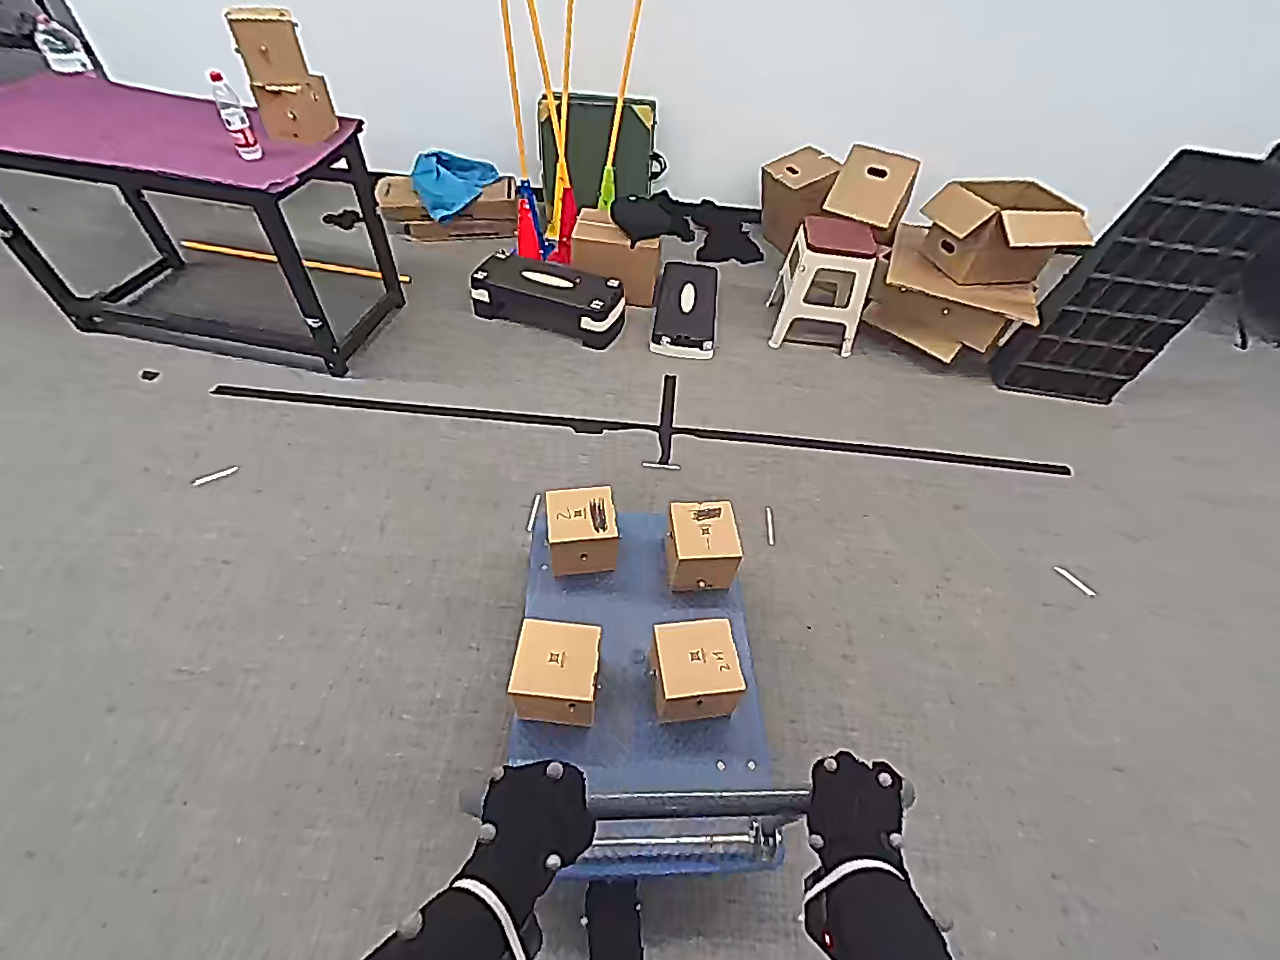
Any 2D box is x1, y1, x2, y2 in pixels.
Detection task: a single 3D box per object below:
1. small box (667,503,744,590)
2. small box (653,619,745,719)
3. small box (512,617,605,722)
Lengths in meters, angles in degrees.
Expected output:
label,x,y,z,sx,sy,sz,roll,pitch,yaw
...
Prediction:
label,x,y,z,sx,sy,sz,roll,pitch,yaw
small box,0.168,0.181,1.460,0.168,0.176,0.179,-1,51,-6
small box,0.125,0.437,1.241,0.179,0.176,0.168,-3,51,-7
small box,-0.179,0.430,1.219,0.179,0.176,0.168,7,49,-1
